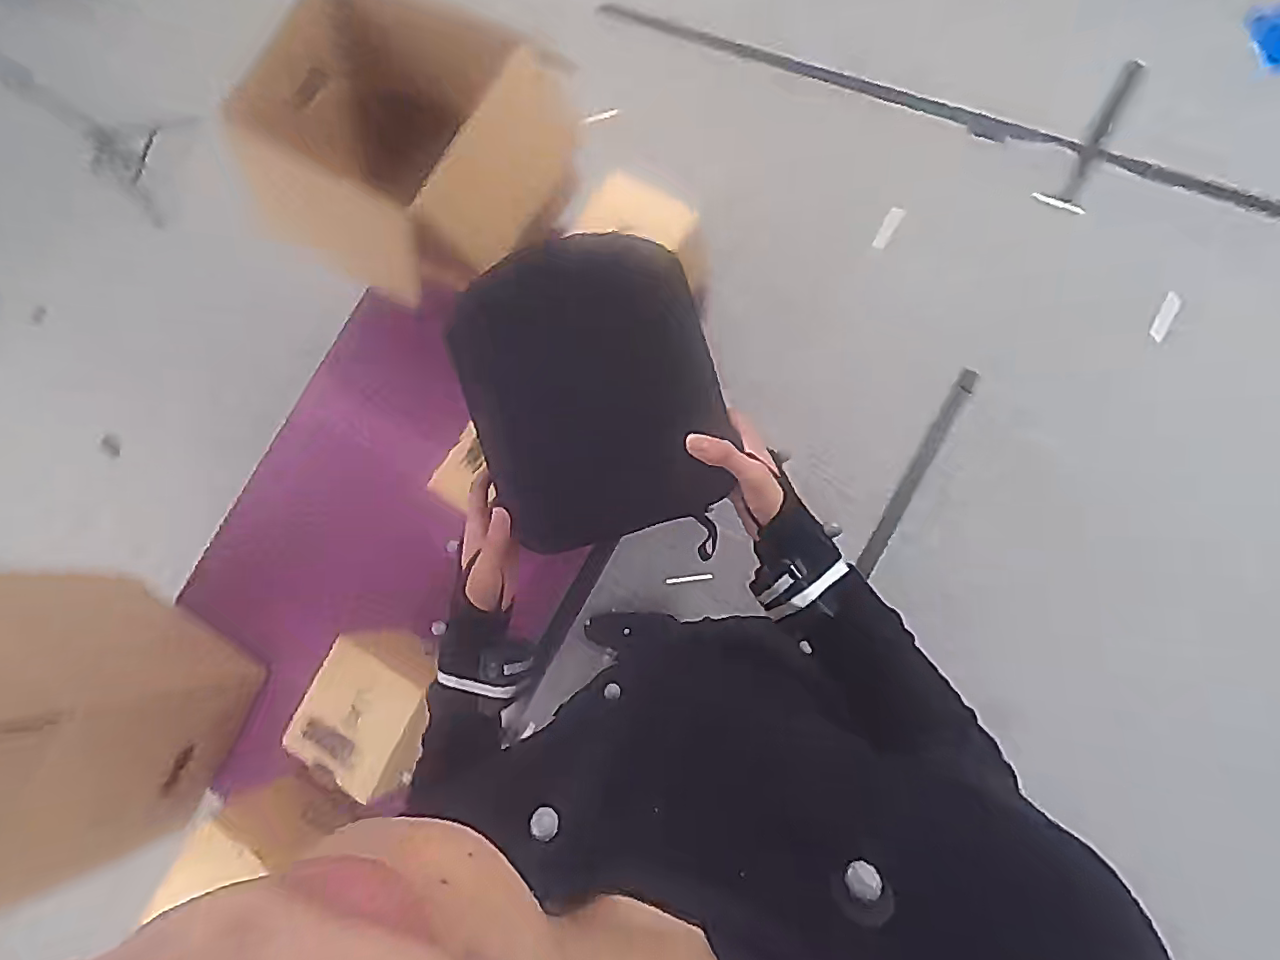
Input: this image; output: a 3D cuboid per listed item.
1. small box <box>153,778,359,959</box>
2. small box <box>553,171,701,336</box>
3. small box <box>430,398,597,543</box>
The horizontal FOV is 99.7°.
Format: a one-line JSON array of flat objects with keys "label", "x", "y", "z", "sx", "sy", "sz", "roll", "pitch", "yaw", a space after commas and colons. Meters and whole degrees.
[{"label": "small box", "x": -0.589, "y": 0.619, "z": 0.855, "sx": 0.168, "sy": 0.176, "sz": 0.179, "roll": 27, "pitch": 84, "yaw": 13}, {"label": "small box", "x": -0.012, "y": -0.375, "z": 0.925, "sx": 0.179, "sy": 0.176, "sz": 0.168, "roll": 34, "pitch": 88, "yaw": 14}, {"label": "small box", "x": -0.198, "y": -0.005, "z": 0.896, "sx": 0.179, "sy": 0.176, "sz": 0.168, "roll": 31, "pitch": 87, "yaw": 13}]
